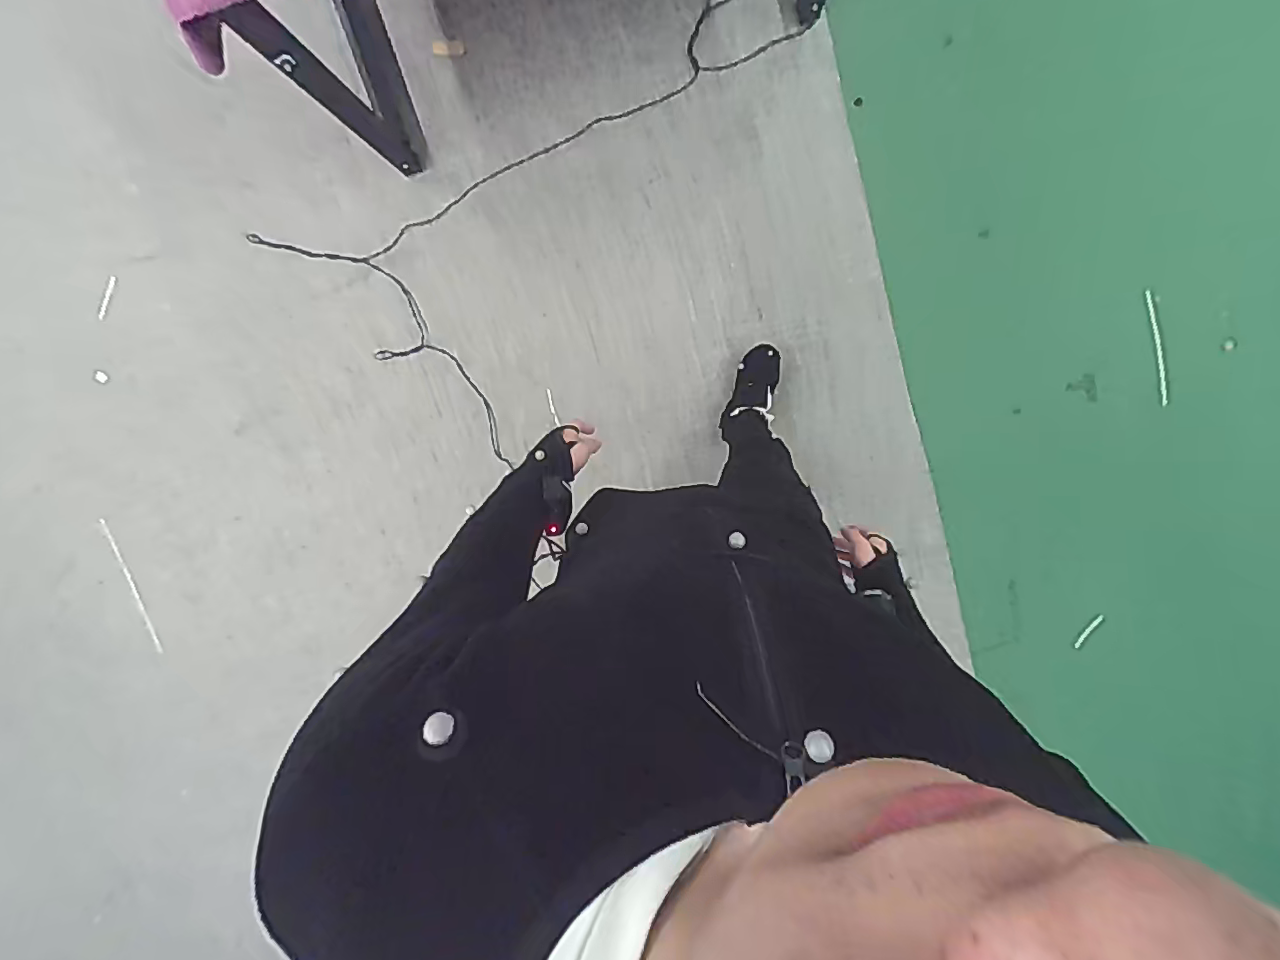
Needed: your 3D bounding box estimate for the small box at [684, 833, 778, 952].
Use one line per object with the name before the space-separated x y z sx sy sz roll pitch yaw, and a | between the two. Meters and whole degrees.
small box | 0.202 0.948 1.240 0.179 0.176 0.168 -11 99 5
